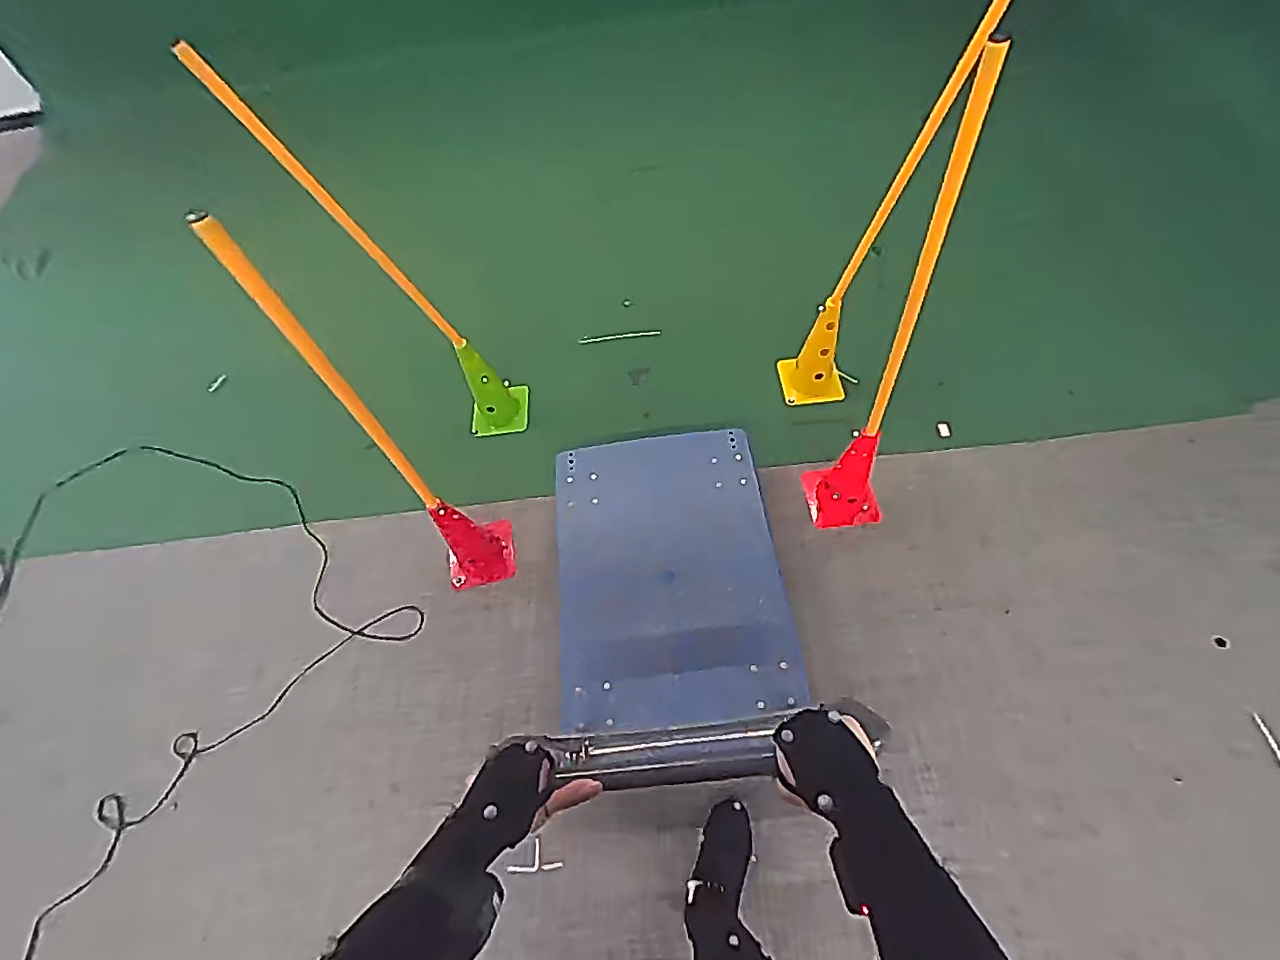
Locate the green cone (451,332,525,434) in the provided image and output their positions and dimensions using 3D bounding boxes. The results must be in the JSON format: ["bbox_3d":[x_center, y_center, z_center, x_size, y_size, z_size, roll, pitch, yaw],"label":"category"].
[{"bbox_3d":[-0.526,-0.338,1.775,0.200,0.368,0.202,-7,60,3],"label":"green cone"}]

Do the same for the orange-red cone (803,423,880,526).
[{"bbox_3d":[0.590,-0.039,1.491,0.198,0.360,0.199,-6,59,2],"label":"orange-red cone"}]
